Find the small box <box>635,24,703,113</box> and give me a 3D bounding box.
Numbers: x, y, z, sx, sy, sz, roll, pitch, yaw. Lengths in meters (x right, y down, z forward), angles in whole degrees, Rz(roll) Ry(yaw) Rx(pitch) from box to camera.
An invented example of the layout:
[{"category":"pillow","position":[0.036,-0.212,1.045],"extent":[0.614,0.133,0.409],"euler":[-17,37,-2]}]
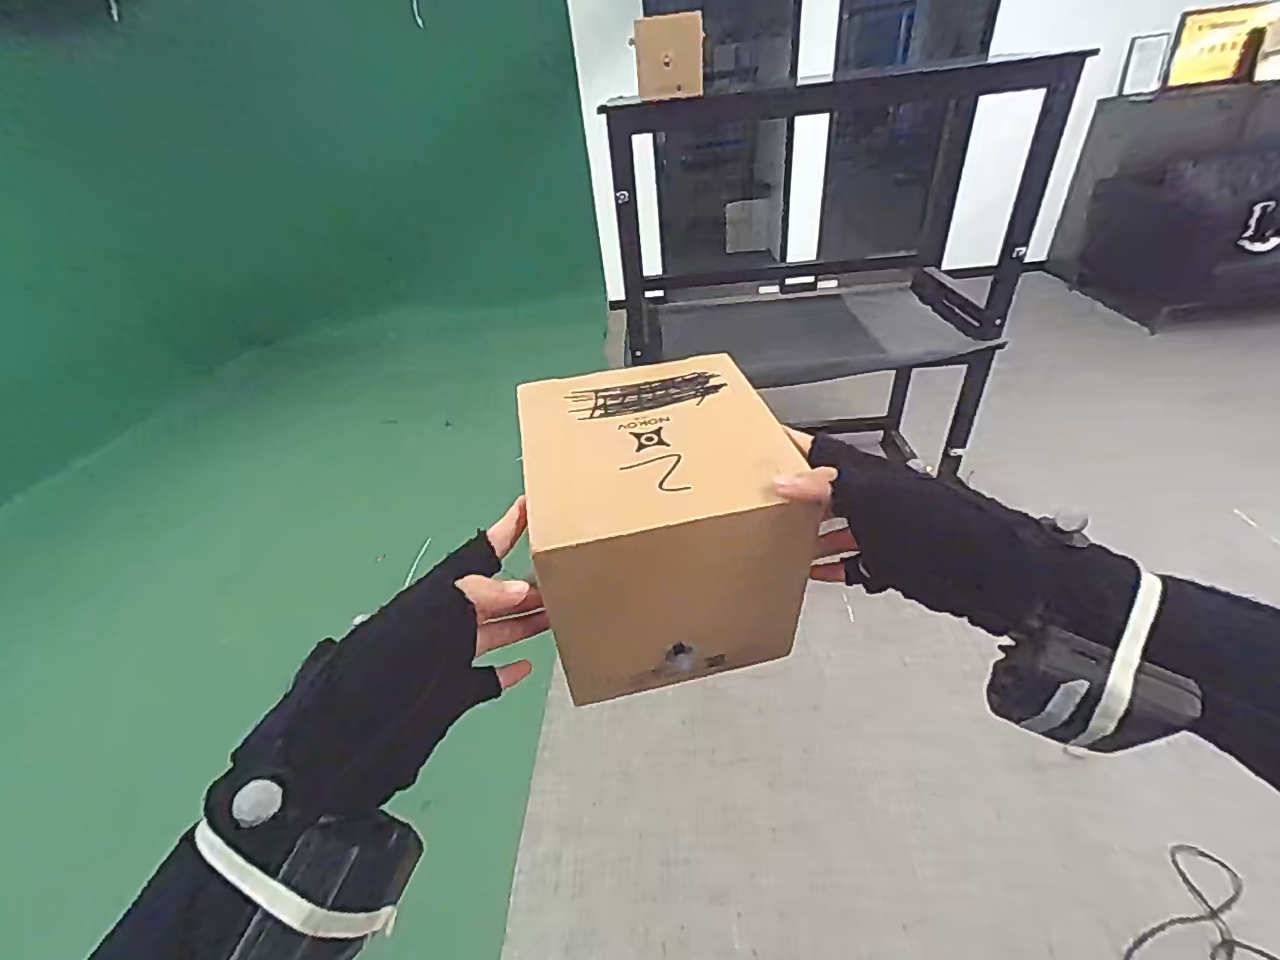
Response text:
[{"category":"small box","position":[0.077,-1.083,1.432],"extent":[0.168,0.176,0.179],"euler":[-3,36,4]}]
